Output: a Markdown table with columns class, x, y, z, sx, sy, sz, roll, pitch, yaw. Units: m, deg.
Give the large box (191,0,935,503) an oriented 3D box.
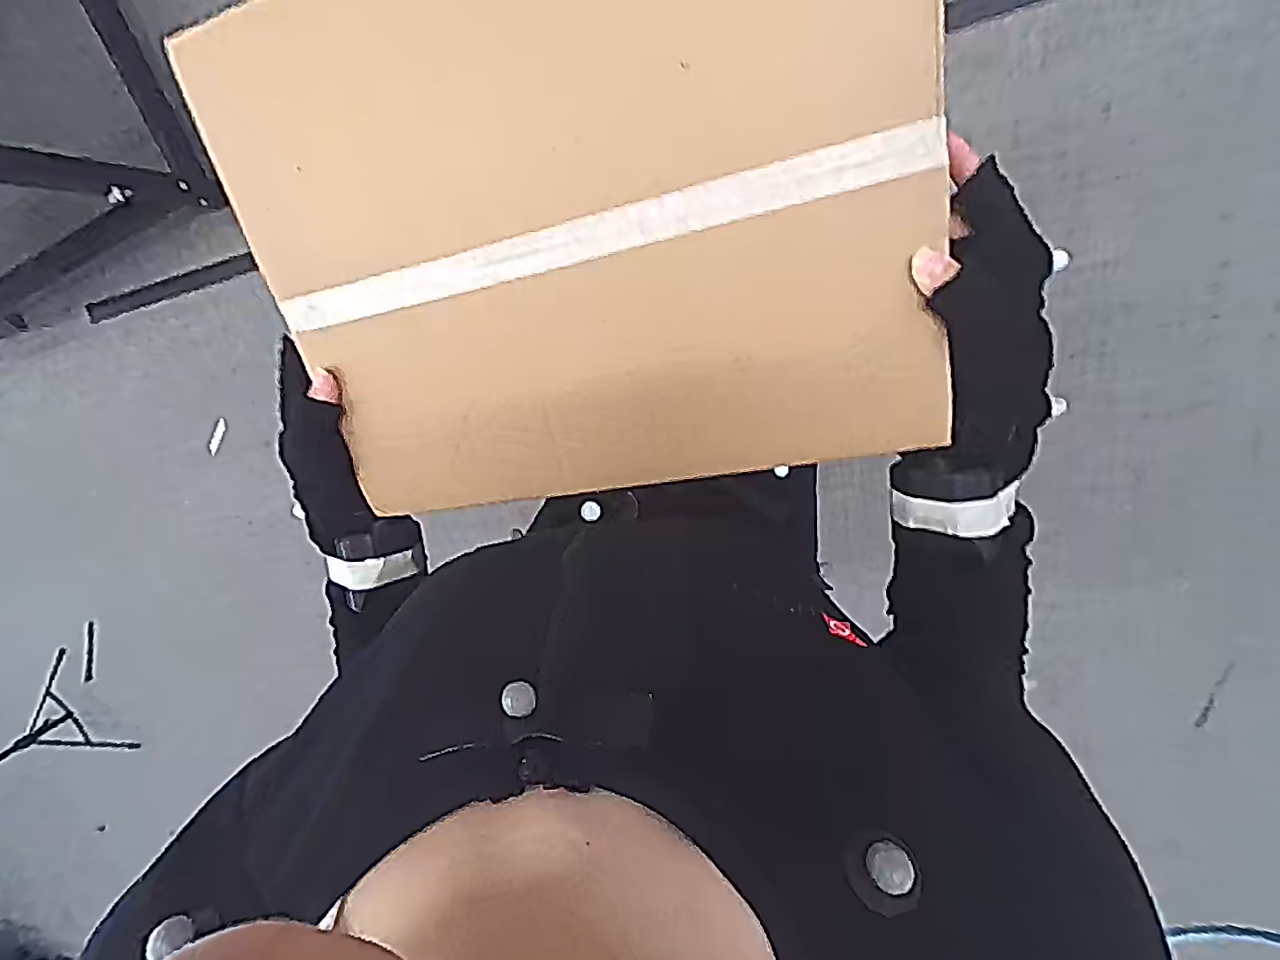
| class | x | y | z | sx | sy | sz | roll | pitch | yaw |
| --- | --- | --- | --- | --- | --- | --- | --- | --- | --- |
| large box | -0.017 | -0.208 | 0.454 | 0.408 | 0.320 | 0.320 | -8 | 111 | 16 |
